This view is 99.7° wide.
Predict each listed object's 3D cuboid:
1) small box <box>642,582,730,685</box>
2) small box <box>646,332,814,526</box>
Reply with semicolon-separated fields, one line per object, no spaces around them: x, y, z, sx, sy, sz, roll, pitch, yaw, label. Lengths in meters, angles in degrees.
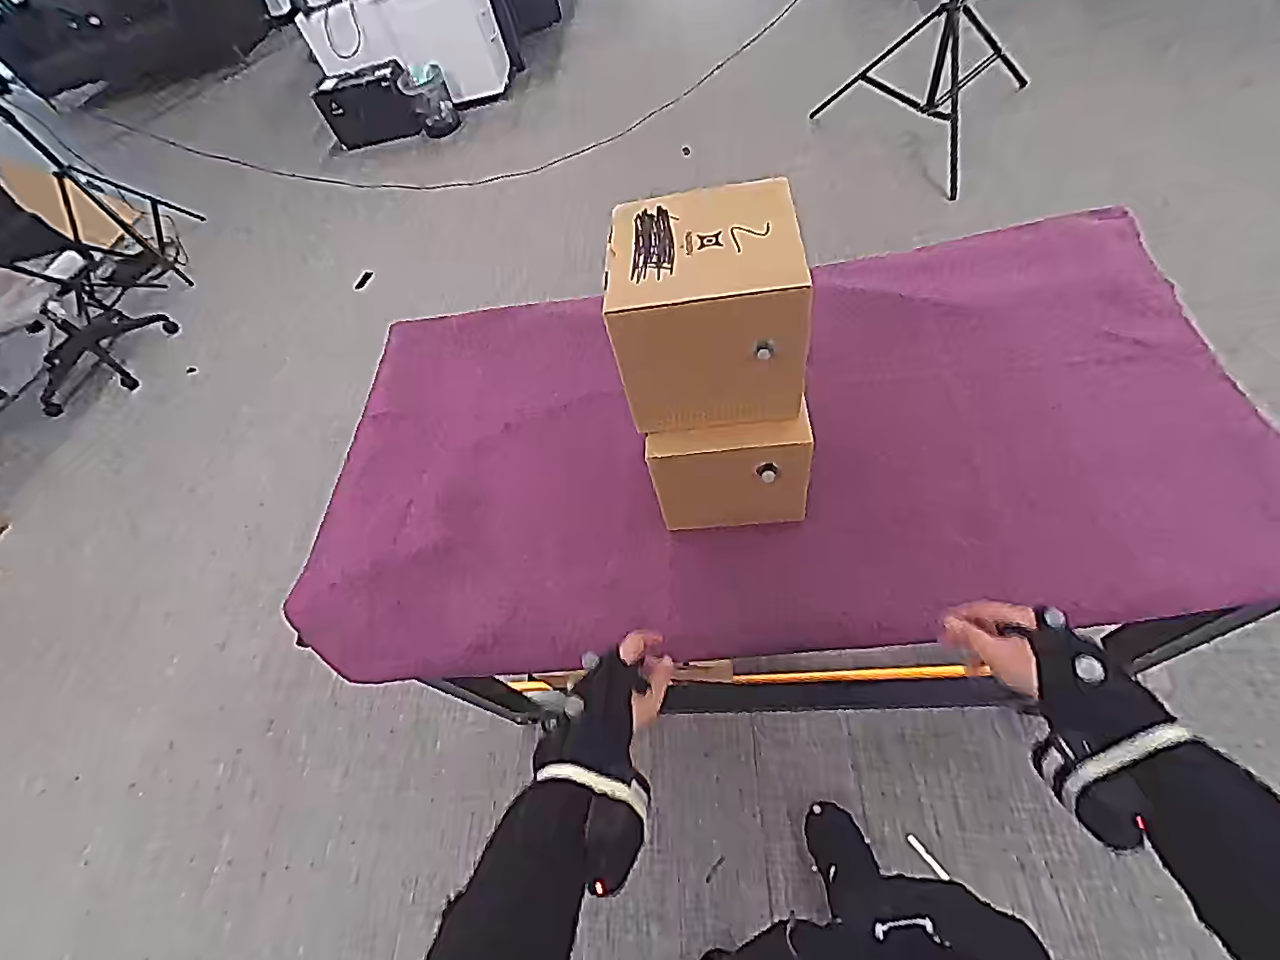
0.108;0.335;1.168;0.168;0.176;0.179;0;58;12;small box
0.107;-0.056;0.670;0.179;0.176;0.168;-5;55;10;small box
